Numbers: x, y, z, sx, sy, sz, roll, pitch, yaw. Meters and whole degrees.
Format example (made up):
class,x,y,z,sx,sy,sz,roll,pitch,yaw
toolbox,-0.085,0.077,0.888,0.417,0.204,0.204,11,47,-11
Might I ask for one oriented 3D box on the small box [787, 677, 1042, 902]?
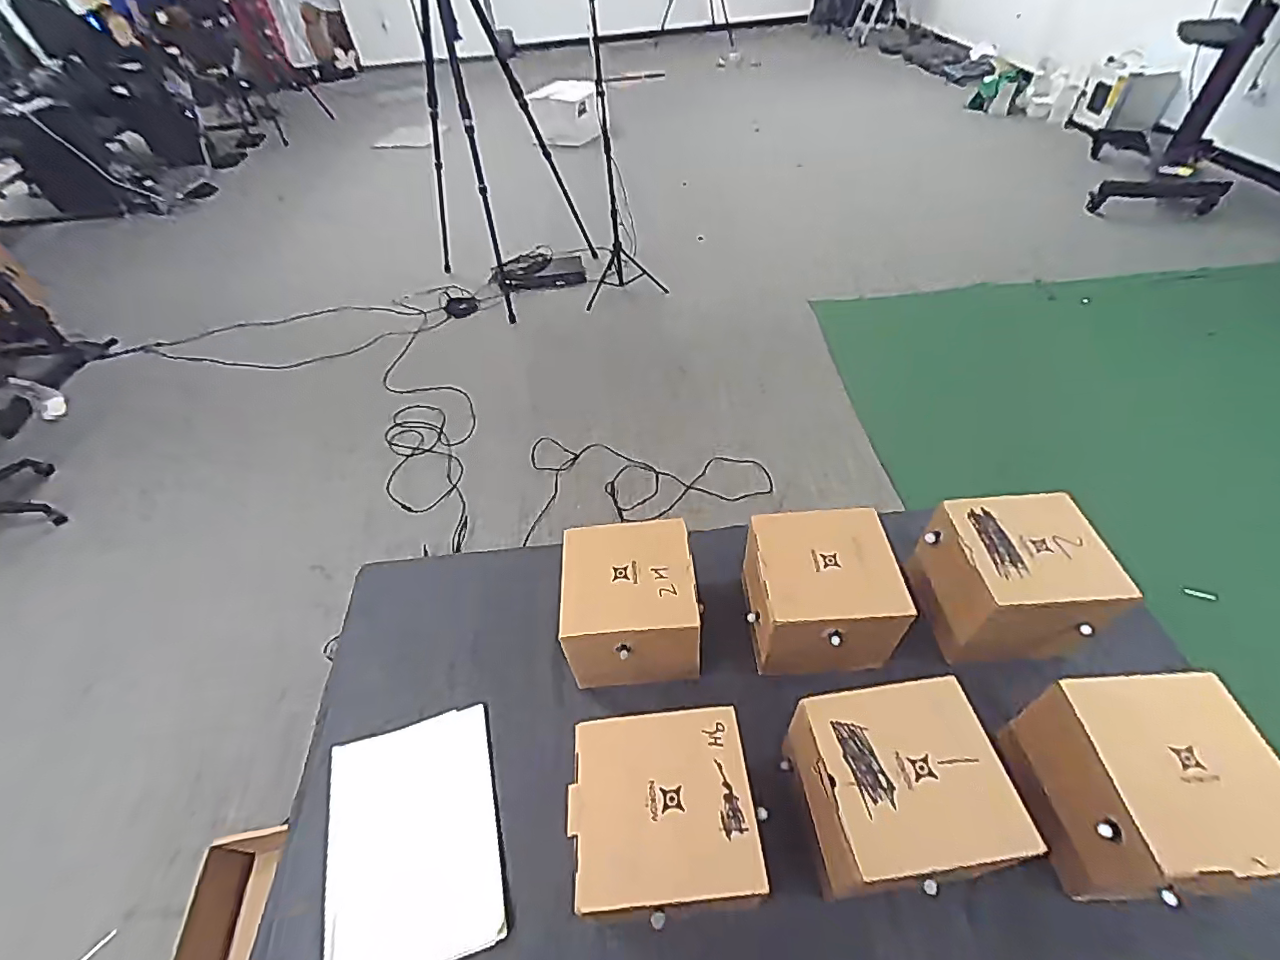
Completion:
class,x,y,z,sx,sy,sz,roll,pitch,yaw
small box,0.270,0.338,0.588,0.179,0.176,0.168,-7,47,-3

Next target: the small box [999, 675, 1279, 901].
class,x,y,z,sx,sy,sz,roll,pitch,yaw
small box,0.532,0.330,0.579,0.168,0.176,0.179,-3,47,2
